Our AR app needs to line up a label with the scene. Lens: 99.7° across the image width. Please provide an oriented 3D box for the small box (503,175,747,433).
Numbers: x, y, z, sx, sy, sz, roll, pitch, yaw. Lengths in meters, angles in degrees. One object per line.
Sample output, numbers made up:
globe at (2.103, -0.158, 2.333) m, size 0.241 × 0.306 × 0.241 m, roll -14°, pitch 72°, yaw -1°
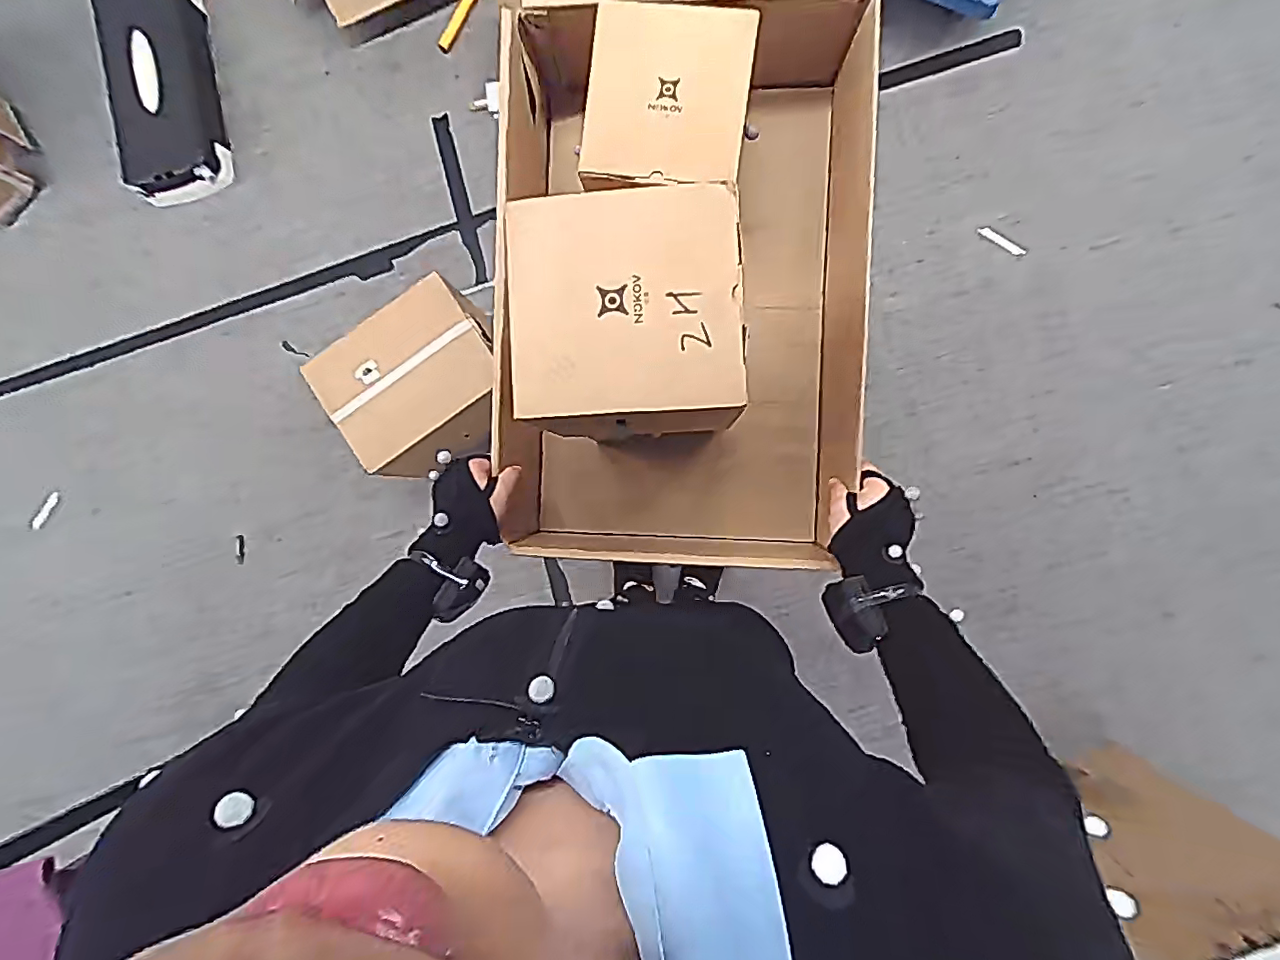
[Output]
small box at (-0.005, -0.131, 0.469) m, size 0.179 × 0.176 × 0.168 m, roll -2°, pitch 91°, yaw 5°

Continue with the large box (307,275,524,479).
large box at (-0.530, -0.240, 1.403) m, size 0.408 × 0.320 × 0.320 m, roll -35°, pitch 85°, yaw 4°
